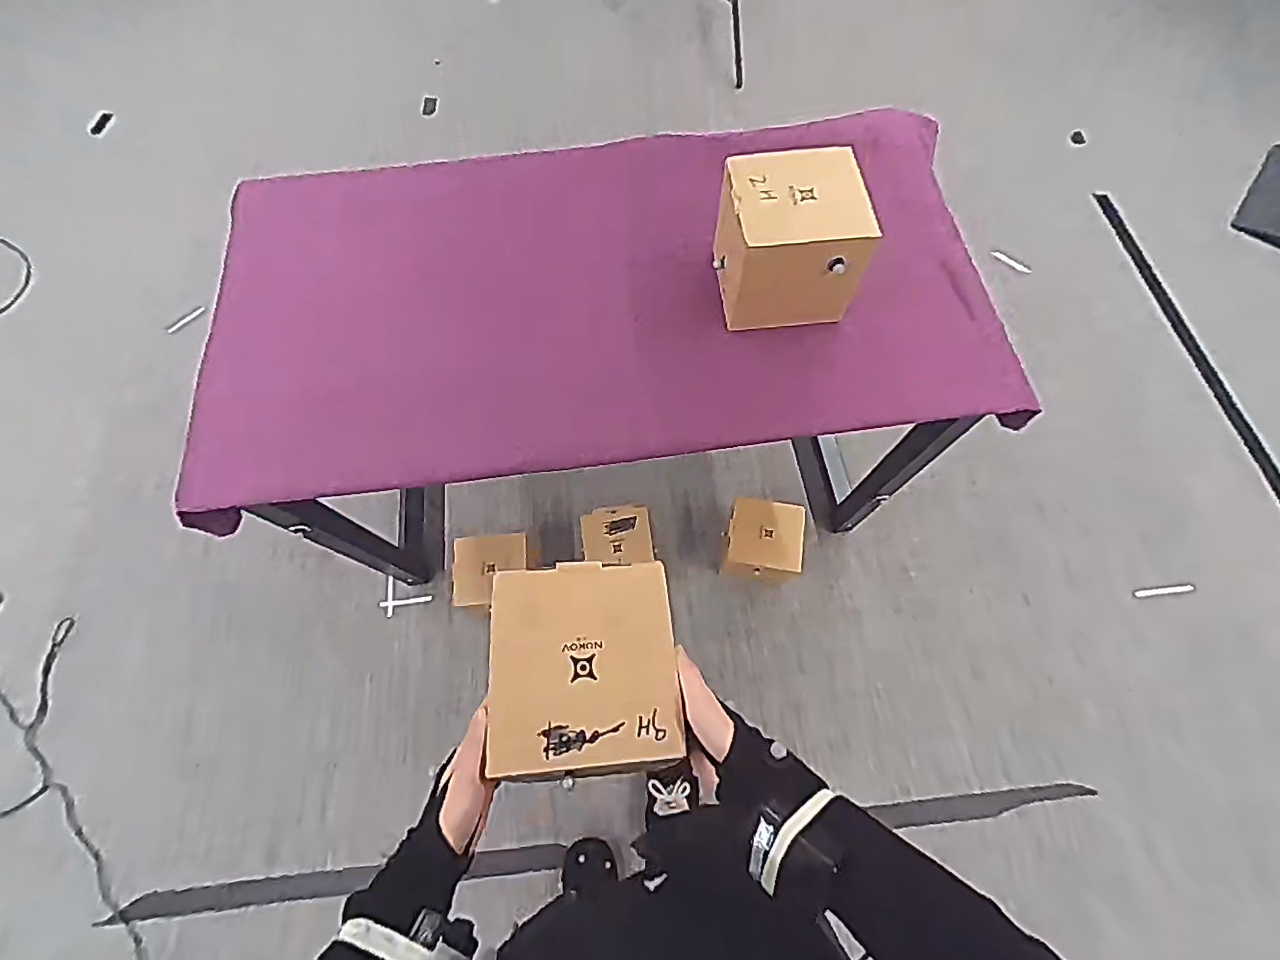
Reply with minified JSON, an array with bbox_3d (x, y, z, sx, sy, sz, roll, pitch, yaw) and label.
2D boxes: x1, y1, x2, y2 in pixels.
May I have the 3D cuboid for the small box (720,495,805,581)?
[{"bbox_3d":[0.305,0.153,1.367,0.179,0.176,0.168,8,70,6],"label":"small box"}]

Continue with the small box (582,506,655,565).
[{"bbox_3d":[-0.051,0.182,1.363,0.168,0.176,0.179,-8,70,-1],"label":"small box"}]

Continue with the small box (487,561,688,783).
[{"bbox_3d":[-0.054,0.197,0.545,0.168,0.176,0.179,-2,59,-6],"label":"small box"}]

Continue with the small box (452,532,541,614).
[{"bbox_3d":[-0.351,0.237,1.350,0.179,0.176,0.168,-5,69,-1],"label":"small box"}]

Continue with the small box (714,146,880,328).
[{"bbox_3d":[0.211,-0.340,0.778,0.179,0.176,0.168,-6,68,0],"label":"small box"}]
